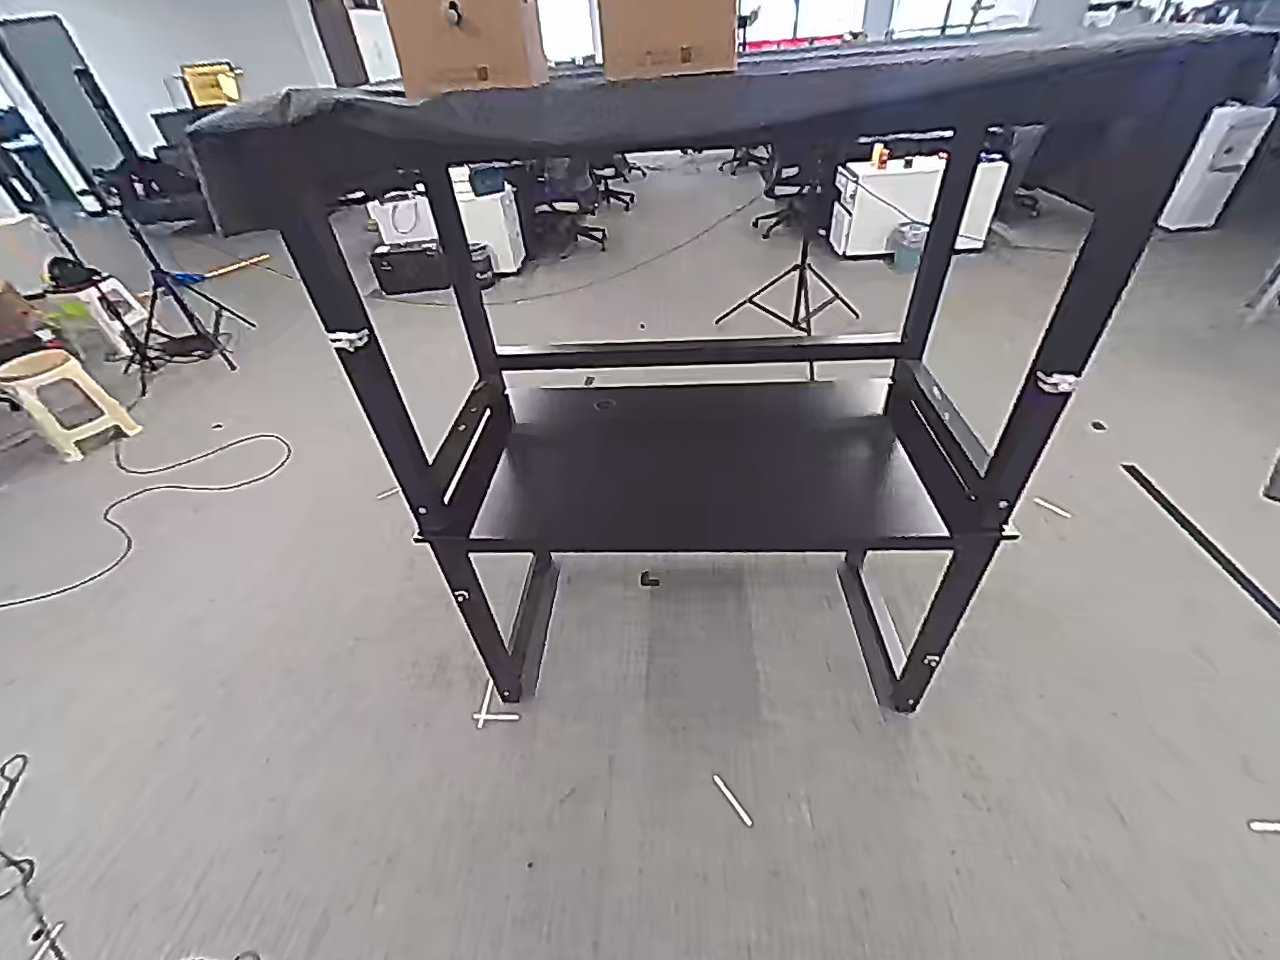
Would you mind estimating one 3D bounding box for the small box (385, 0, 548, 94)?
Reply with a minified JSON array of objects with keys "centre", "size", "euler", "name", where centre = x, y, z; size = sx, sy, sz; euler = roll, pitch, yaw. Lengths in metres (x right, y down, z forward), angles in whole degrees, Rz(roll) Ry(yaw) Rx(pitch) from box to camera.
[{"centre":[-0.220,-0.611,0.702],"size":[0.168,0.176,0.179],"euler":[-3,39,1],"name":"small box"}]
